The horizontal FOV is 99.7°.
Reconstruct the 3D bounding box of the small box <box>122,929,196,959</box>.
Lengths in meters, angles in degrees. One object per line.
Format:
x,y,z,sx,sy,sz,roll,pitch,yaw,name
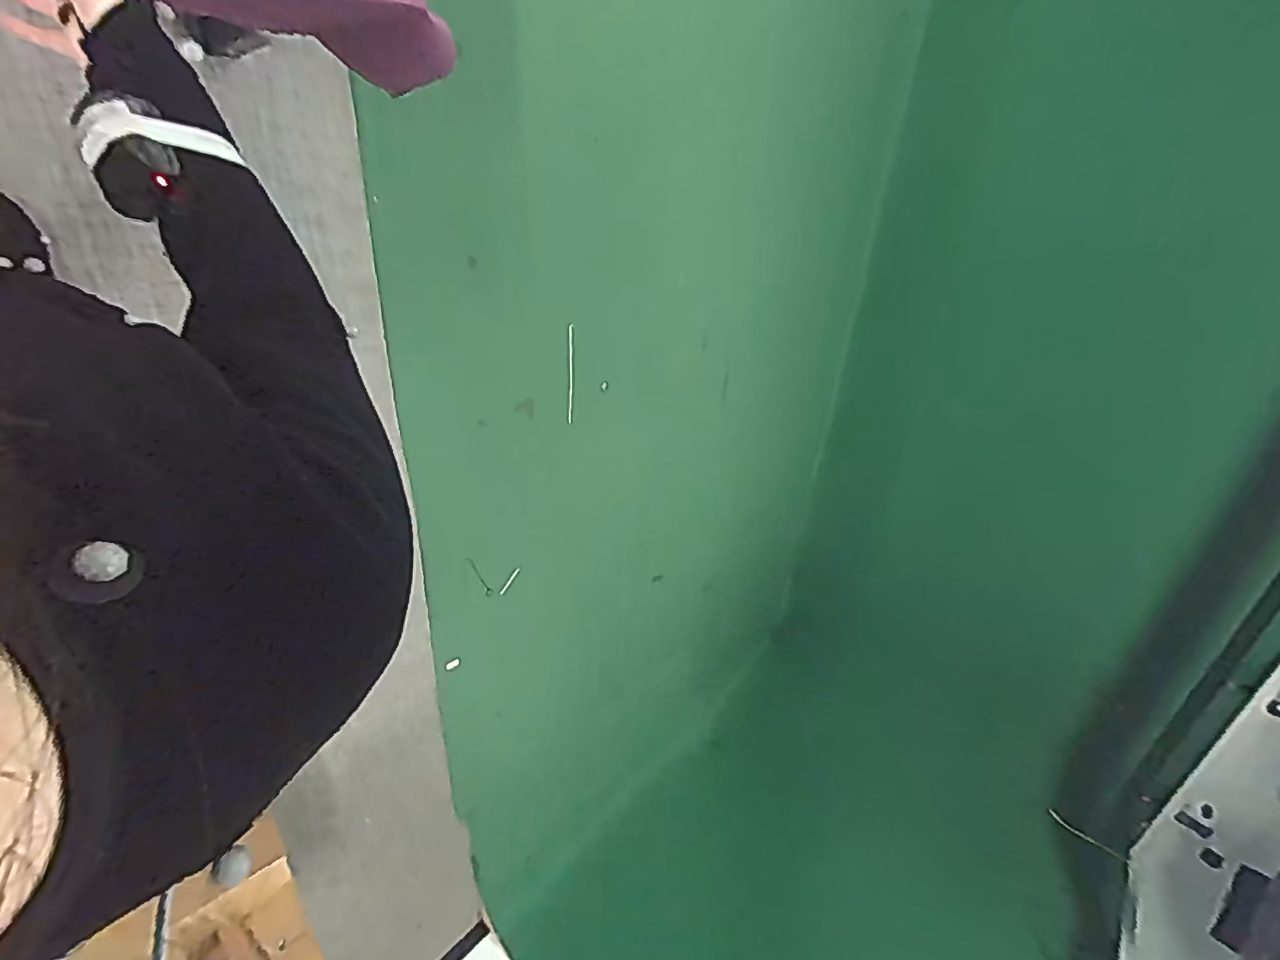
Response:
-1.108,1.184,1.229,0.168,0.176,0.179,-14,123,-44,small box

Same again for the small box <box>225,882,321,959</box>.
-0.969,1.226,1.430,0.168,0.176,0.179,-17,126,-46,small box
